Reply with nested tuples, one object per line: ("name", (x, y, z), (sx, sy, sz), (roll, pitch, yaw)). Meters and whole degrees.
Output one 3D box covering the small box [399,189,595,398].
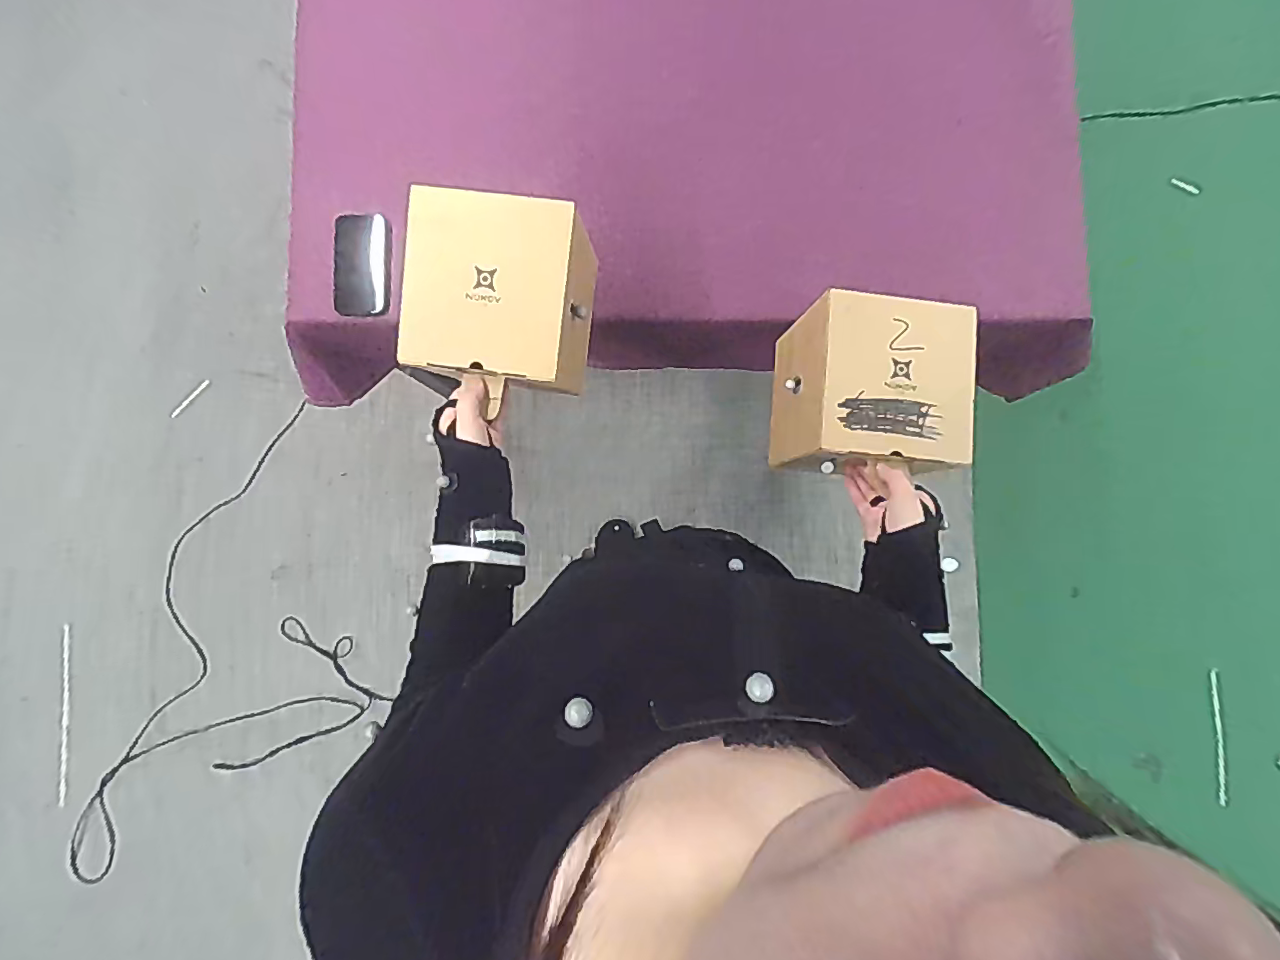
("small box", (-0.147, -0.194, 0.611), (0.168, 0.176, 0.179), (8, 96, 1))
